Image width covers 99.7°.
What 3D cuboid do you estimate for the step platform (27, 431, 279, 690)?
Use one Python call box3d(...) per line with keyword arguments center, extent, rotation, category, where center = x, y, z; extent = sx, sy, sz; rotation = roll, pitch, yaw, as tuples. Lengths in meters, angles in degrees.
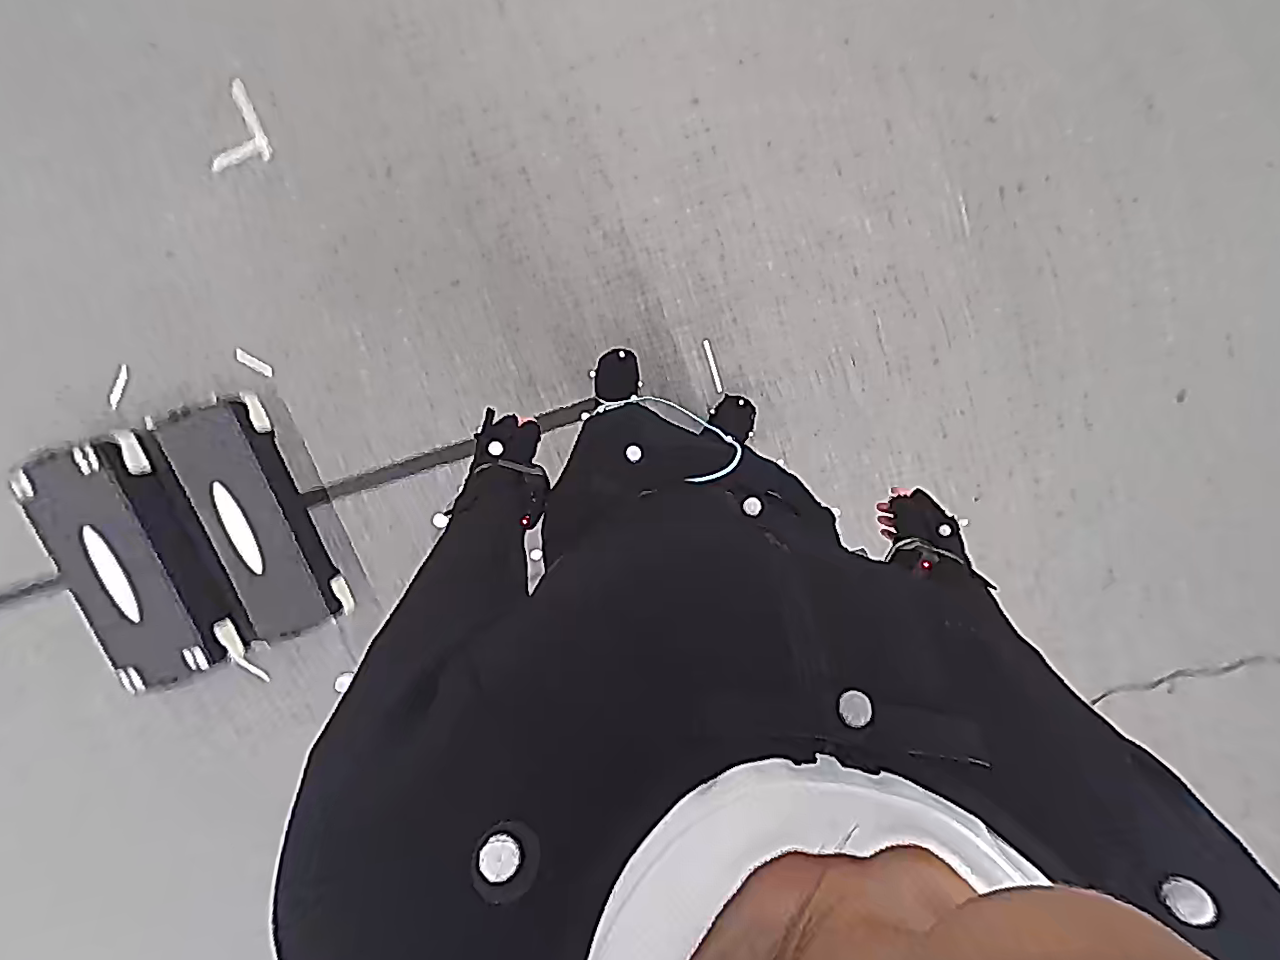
box3d(center=(-1.303, 0.222, 1.471), extent=(0.286, 0.204, 0.684), rotation=(-19, 100, 6), category="step platform")
